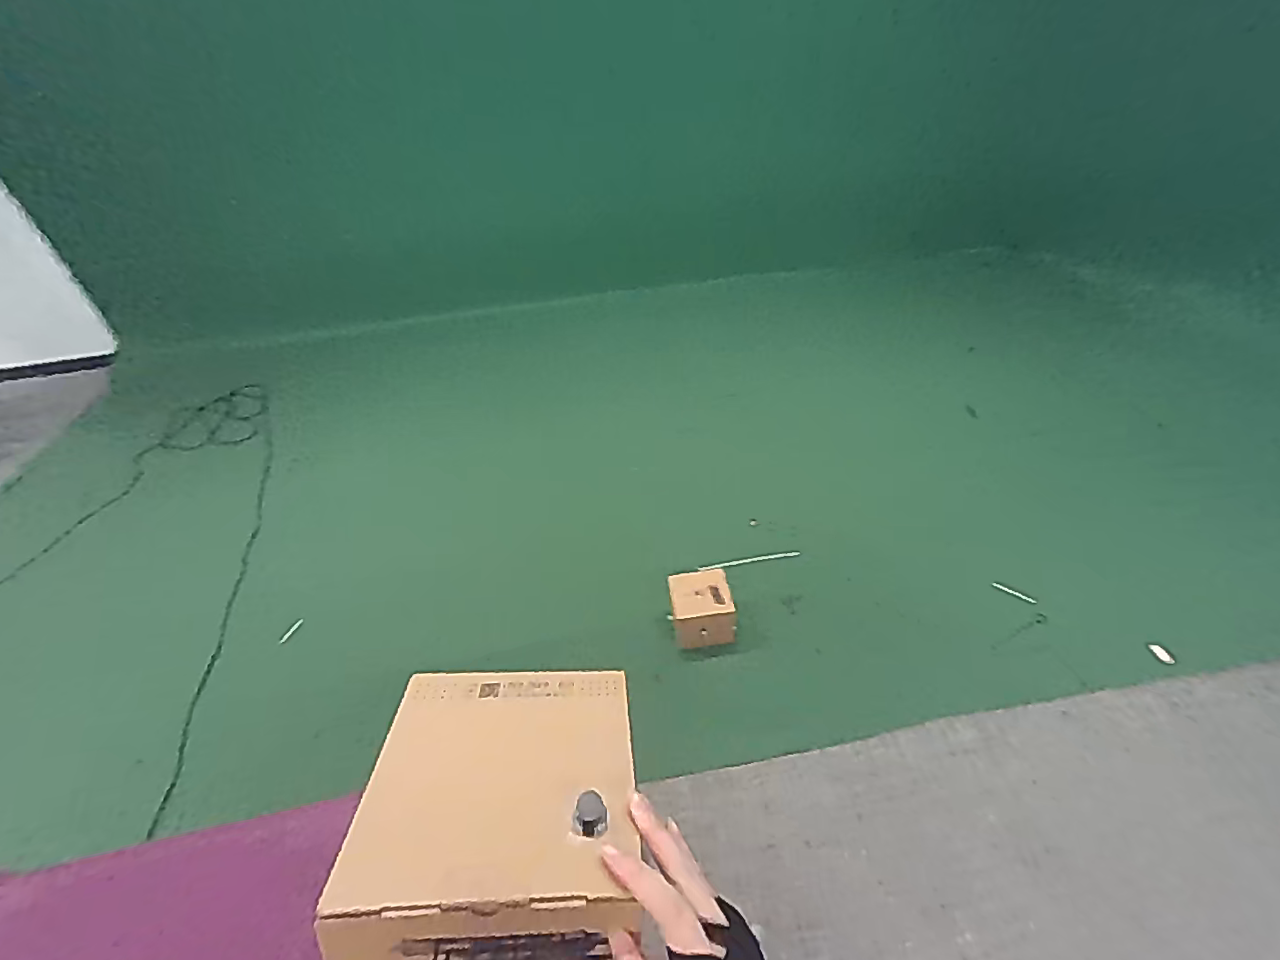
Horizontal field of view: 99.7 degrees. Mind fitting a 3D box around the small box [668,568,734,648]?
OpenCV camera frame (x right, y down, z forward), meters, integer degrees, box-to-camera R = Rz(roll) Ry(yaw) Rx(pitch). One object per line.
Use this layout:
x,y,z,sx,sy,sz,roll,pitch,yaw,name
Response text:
0.186,0.401,1.687,0.179,0.176,0.168,-9,41,-1,small box
